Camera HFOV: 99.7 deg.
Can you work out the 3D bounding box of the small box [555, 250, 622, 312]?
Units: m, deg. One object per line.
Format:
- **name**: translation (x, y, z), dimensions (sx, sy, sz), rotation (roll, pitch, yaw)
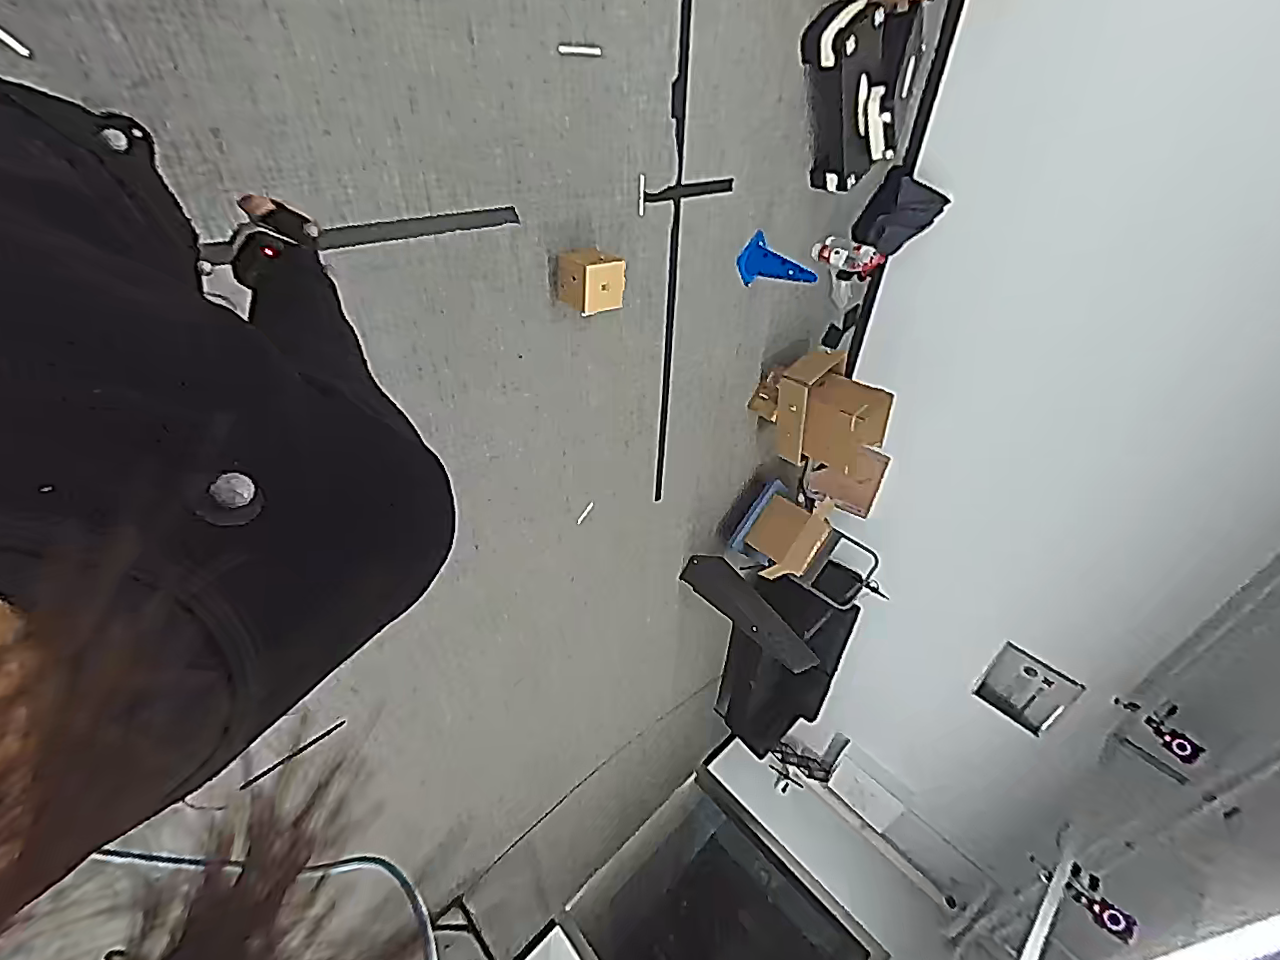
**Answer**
- **small box**: translation (-0.188, -0.712, 1.924), dimensions (0.179, 0.176, 0.168), rotation (-26, 136, -37)
